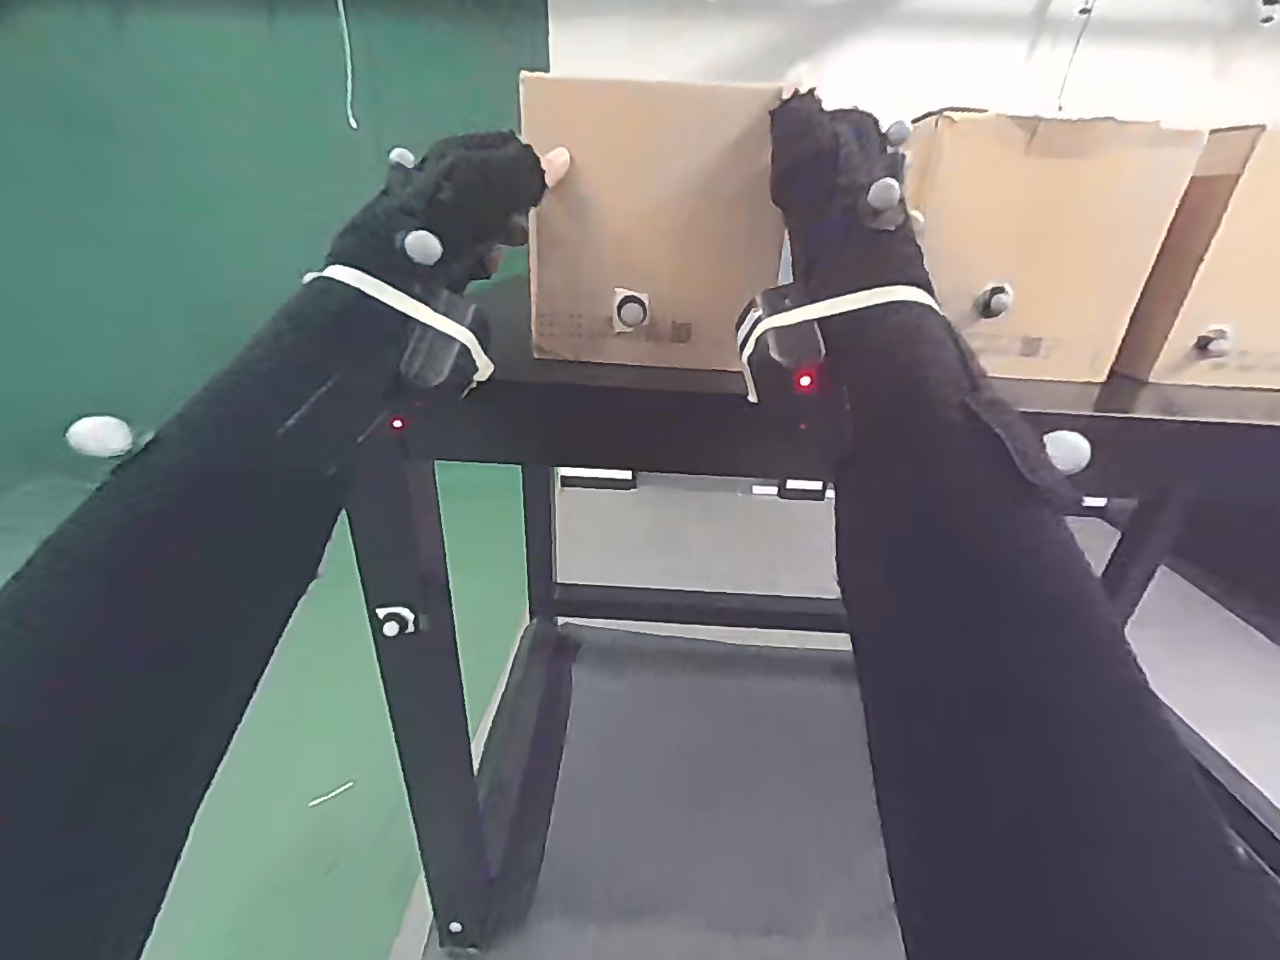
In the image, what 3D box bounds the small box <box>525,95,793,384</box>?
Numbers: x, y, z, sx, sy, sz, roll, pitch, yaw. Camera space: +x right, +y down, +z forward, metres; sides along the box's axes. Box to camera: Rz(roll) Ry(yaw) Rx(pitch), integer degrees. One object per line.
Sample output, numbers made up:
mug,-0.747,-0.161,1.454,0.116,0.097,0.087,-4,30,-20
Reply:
small box,0.010,-0.184,0.432,0.168,0.176,0.179,3,26,1
